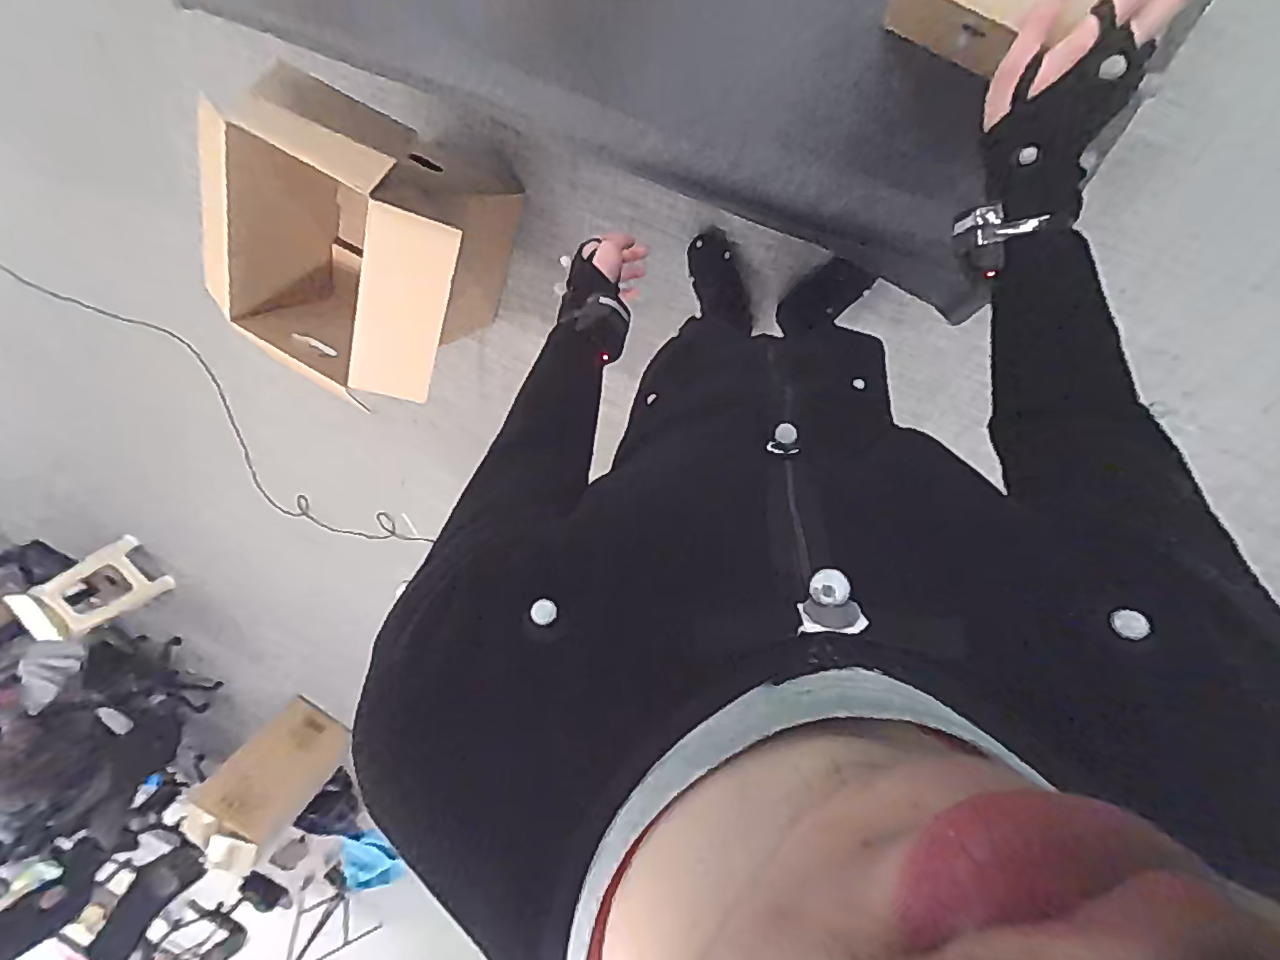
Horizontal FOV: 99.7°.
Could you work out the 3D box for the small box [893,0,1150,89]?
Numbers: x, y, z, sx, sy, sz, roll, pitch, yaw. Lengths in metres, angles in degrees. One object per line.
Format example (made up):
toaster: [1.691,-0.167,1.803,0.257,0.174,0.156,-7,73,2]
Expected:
small box: [0.333,-0.452,0.439,0.179,0.176,0.168,30,123,3]
